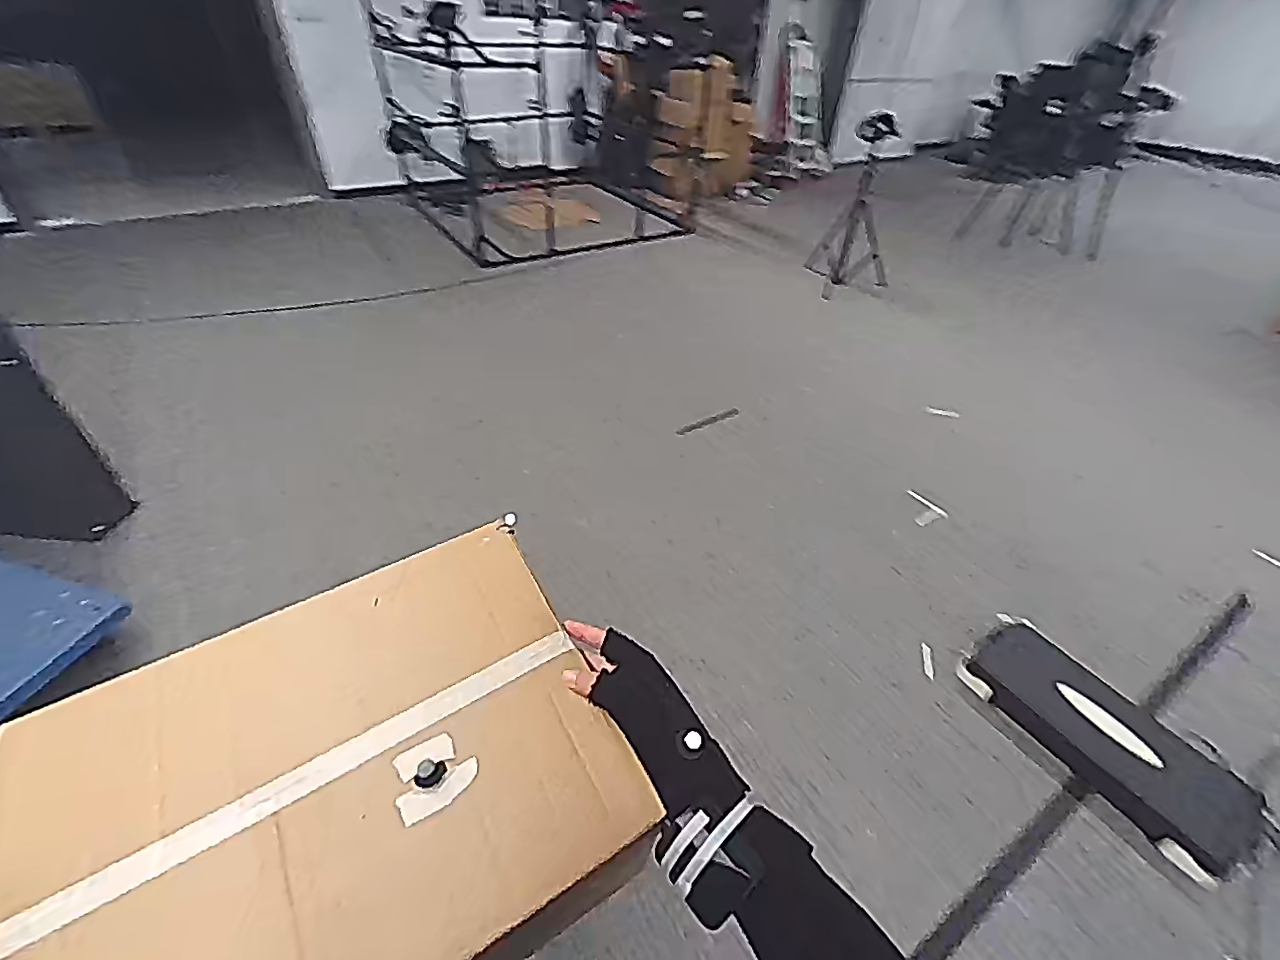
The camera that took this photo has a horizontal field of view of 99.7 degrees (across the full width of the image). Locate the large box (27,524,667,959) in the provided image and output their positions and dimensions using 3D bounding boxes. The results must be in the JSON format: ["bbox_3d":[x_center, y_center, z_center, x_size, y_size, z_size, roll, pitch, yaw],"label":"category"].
[{"bbox_3d":[-0.229,0.315,0.532,0.408,0.320,0.320,-22,53,-22],"label":"large box"}]
